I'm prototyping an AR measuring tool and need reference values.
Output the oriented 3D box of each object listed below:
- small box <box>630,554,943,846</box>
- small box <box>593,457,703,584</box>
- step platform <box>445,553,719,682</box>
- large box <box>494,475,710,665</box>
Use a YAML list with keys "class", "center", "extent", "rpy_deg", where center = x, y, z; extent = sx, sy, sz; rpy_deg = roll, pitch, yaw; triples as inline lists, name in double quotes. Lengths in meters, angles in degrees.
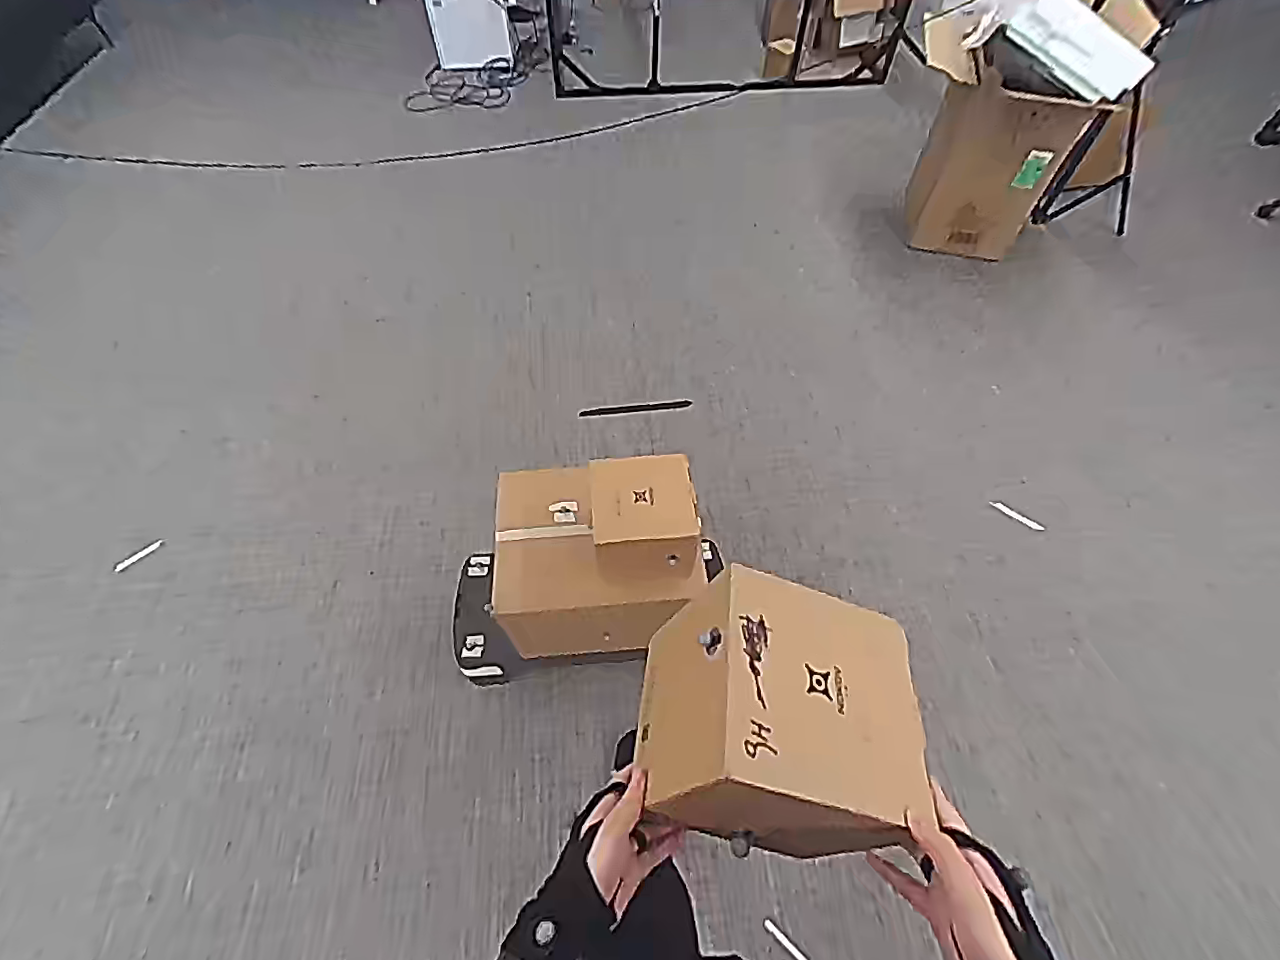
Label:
- class: "small box"
  center: [0.112, 0.197, 0.465]
  extent: [0.179, 0.176, 0.168]
  rpy_deg: [22, 45, -11]
- class: "small box"
  center: [0.009, 0.076, 0.970]
  extent: [0.179, 0.176, 0.168]
  rpy_deg: [-4, 57, -2]
- class: "step platform"
  center: [-0.129, 0.346, 1.371]
  extent: [0.684, 0.204, 0.286]
  rpy_deg: [0, 56, 1]
- class: "large box"
  center: [-0.077, 0.196, 1.185]
  extent: [0.408, 0.320, 0.320]
  rpy_deg: [-5, 56, -2]
